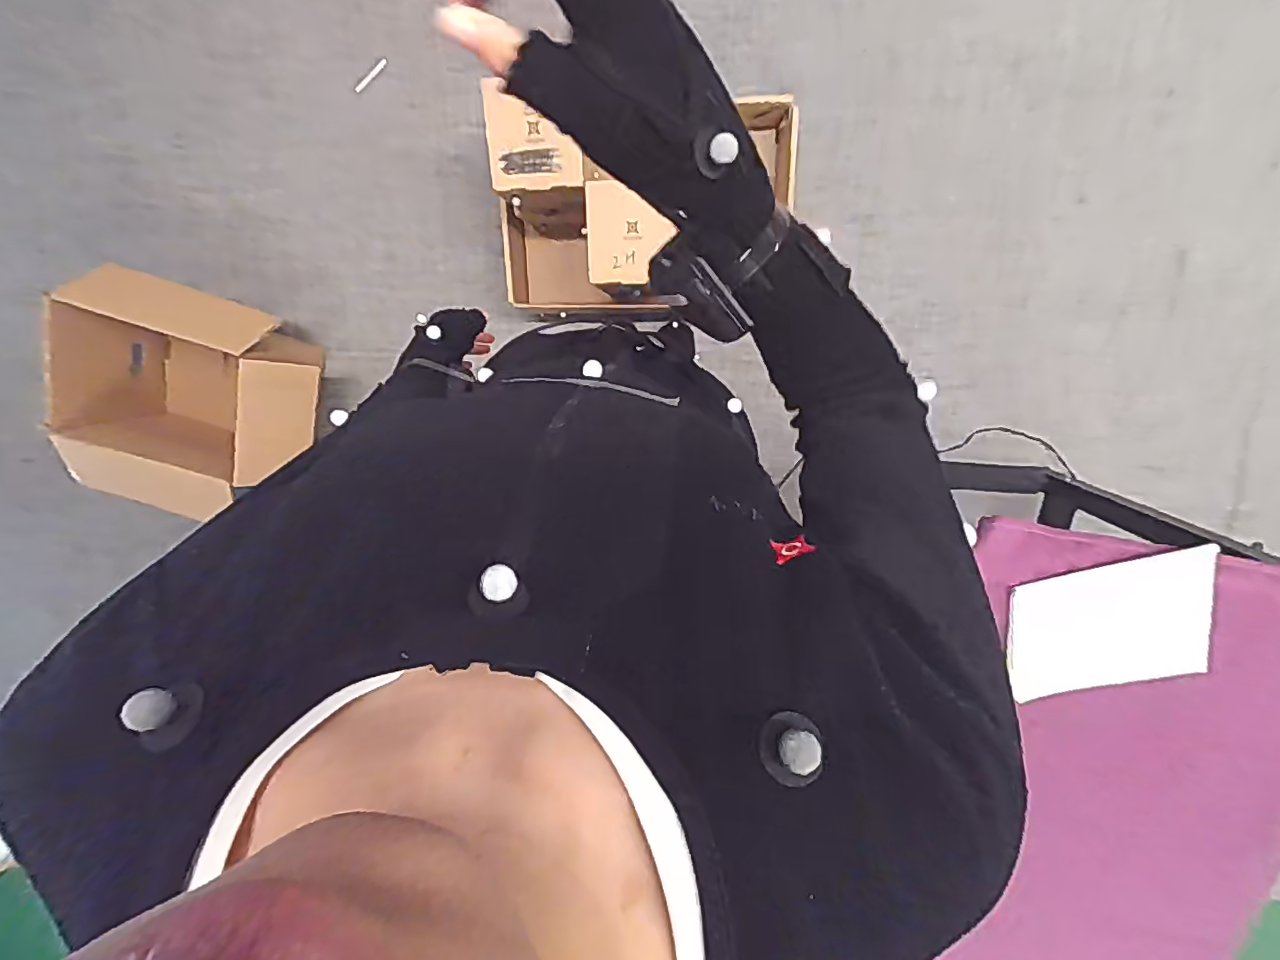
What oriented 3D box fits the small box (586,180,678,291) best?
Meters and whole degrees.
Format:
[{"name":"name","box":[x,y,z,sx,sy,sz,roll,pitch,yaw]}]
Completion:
[{"name":"small box","box":[-0.013,-0.466,1.051,0.168,0.176,0.179,0,106,2]}]
